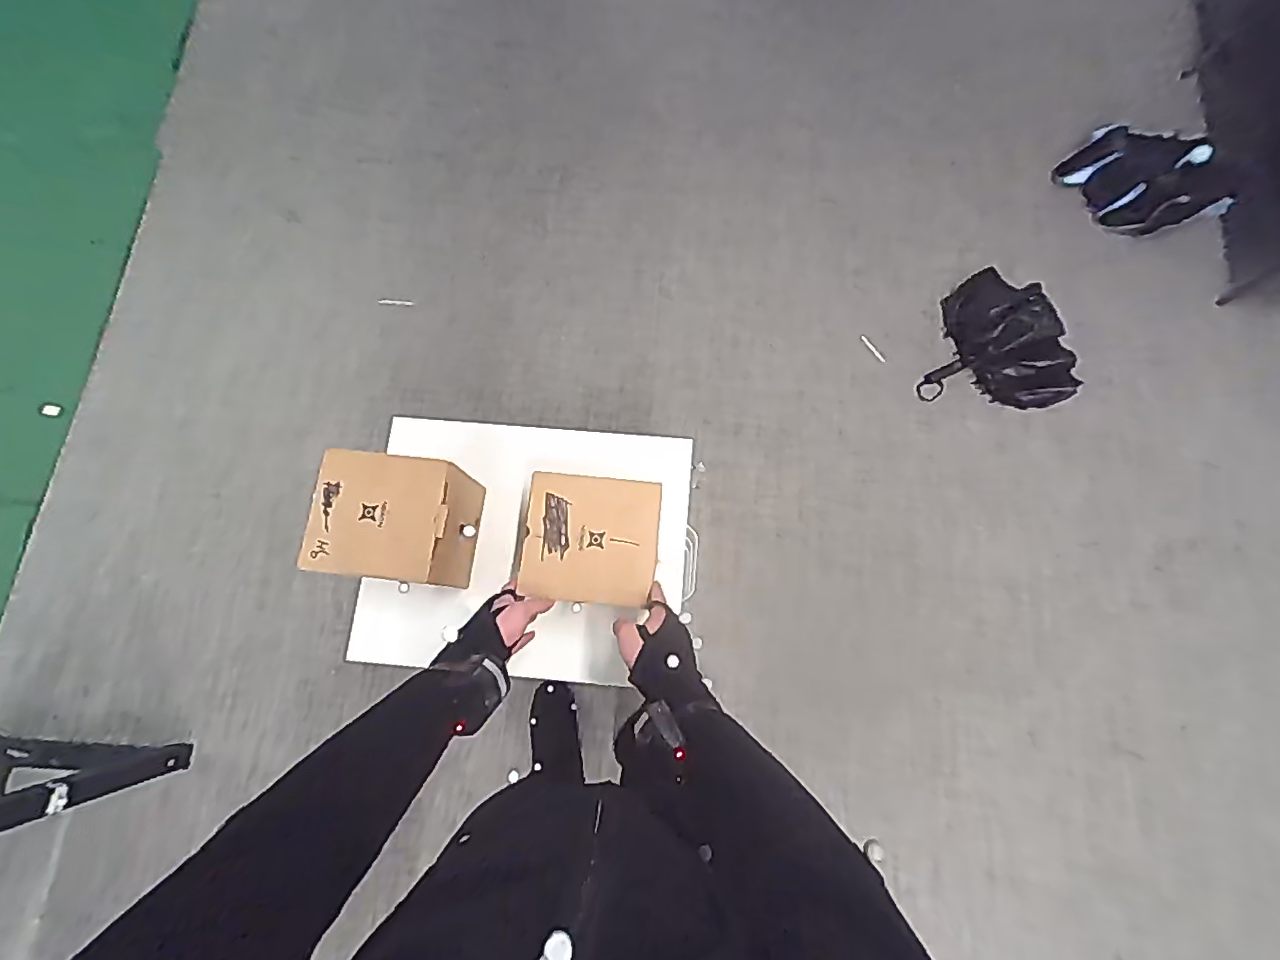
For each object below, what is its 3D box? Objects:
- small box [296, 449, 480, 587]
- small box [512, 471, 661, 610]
[{"bbox_3d":[-0.347,0.063,0.784,0.179,0.176,0.168,6,77,1],"label":"small box"},{"bbox_3d":[-0.065,0.093,0.769,0.179,0.176,0.168,5,78,2],"label":"small box"}]
